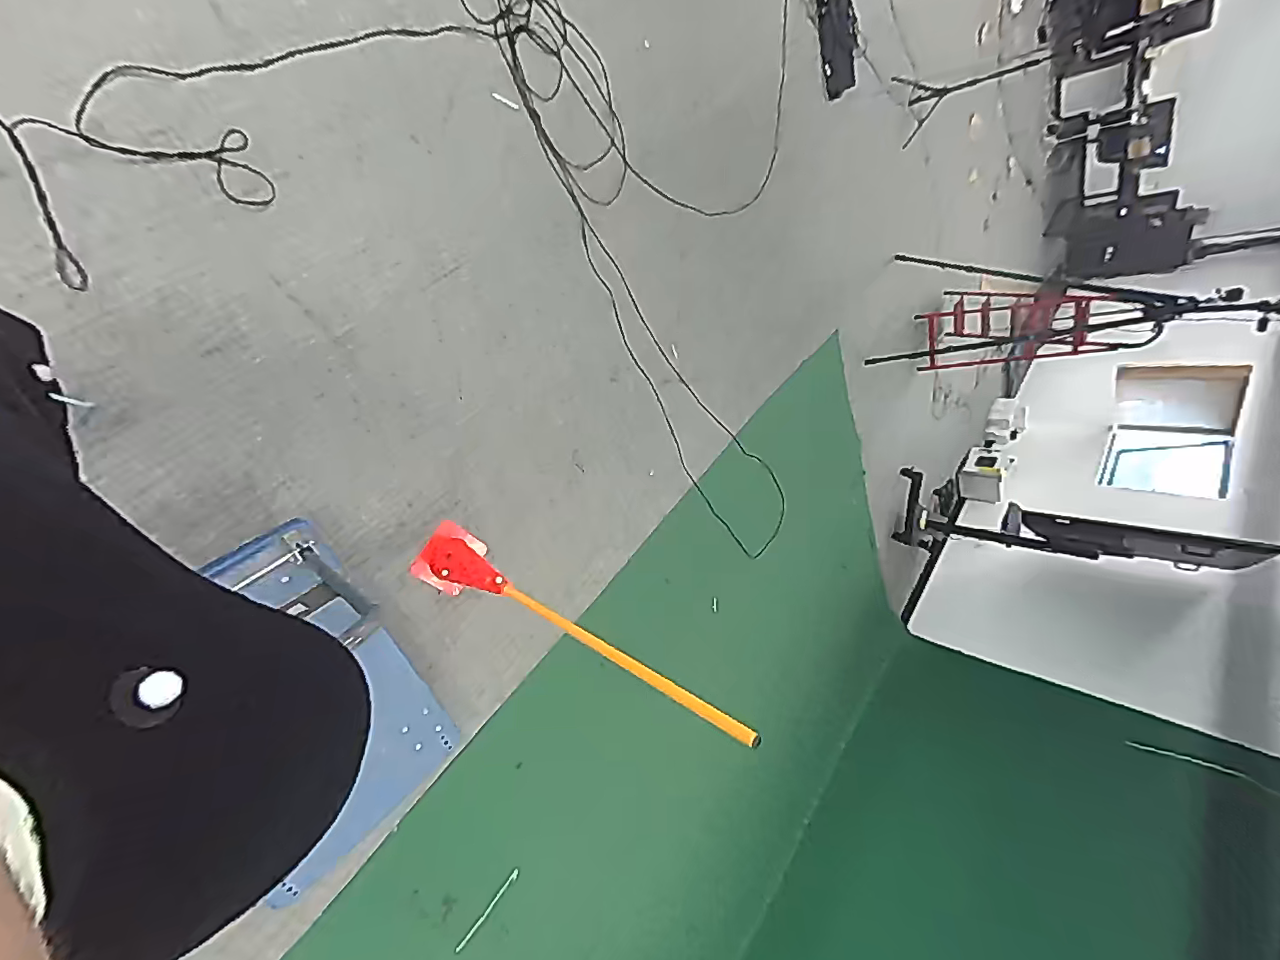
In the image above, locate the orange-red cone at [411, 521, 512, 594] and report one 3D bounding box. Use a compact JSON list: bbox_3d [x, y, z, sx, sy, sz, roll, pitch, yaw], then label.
[{"bbox_3d":[-0.502,0.278,1.650,0.198,0.360,0.199,49,63,-40],"label":"orange-red cone"}]
